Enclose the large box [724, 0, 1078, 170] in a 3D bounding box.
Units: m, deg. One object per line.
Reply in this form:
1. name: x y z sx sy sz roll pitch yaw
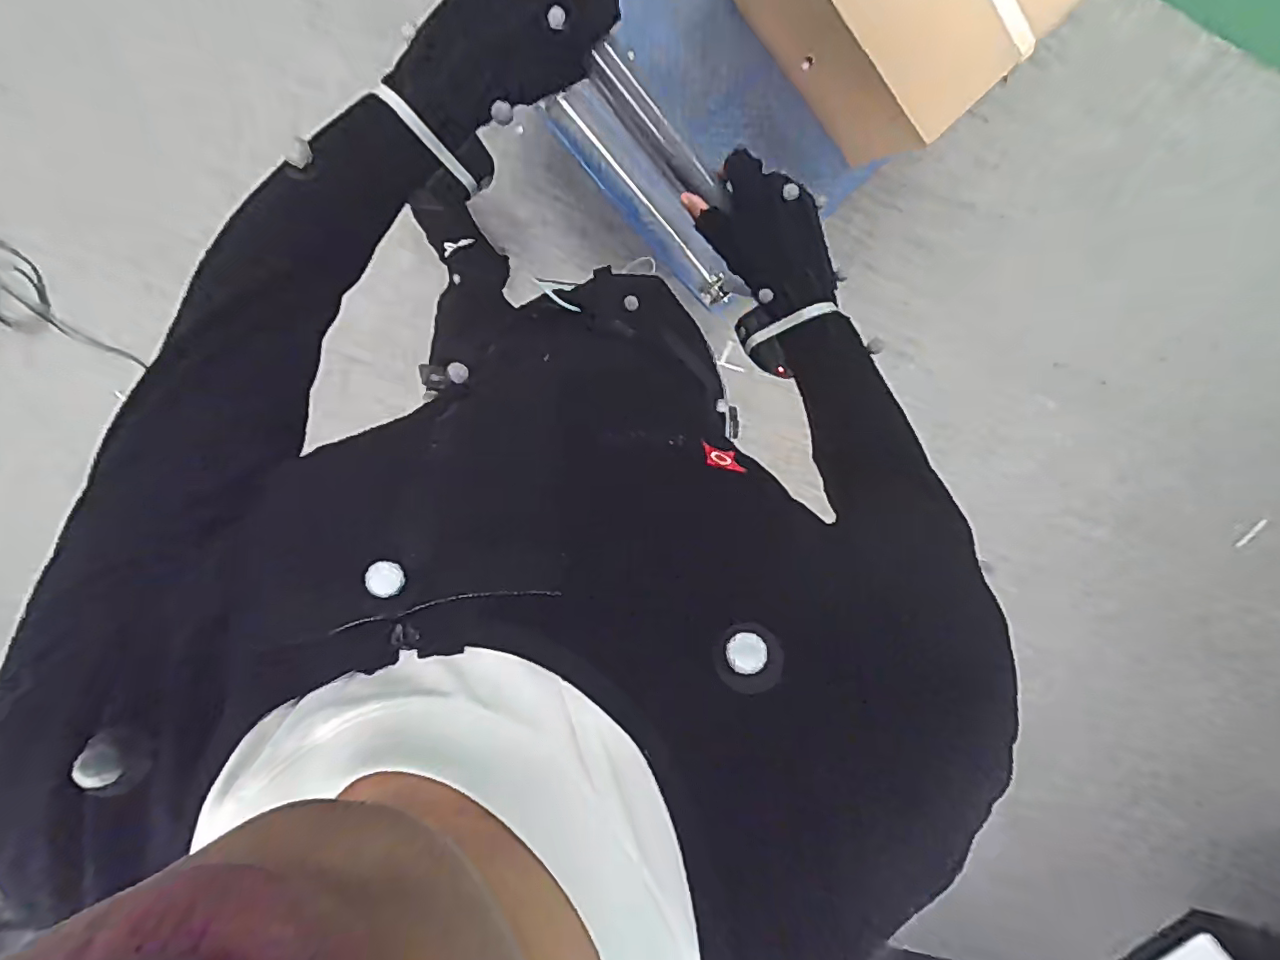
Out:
1. large box: 0.379 -0.765 0.826 0.320 0.320 0.408 -42 107 17
